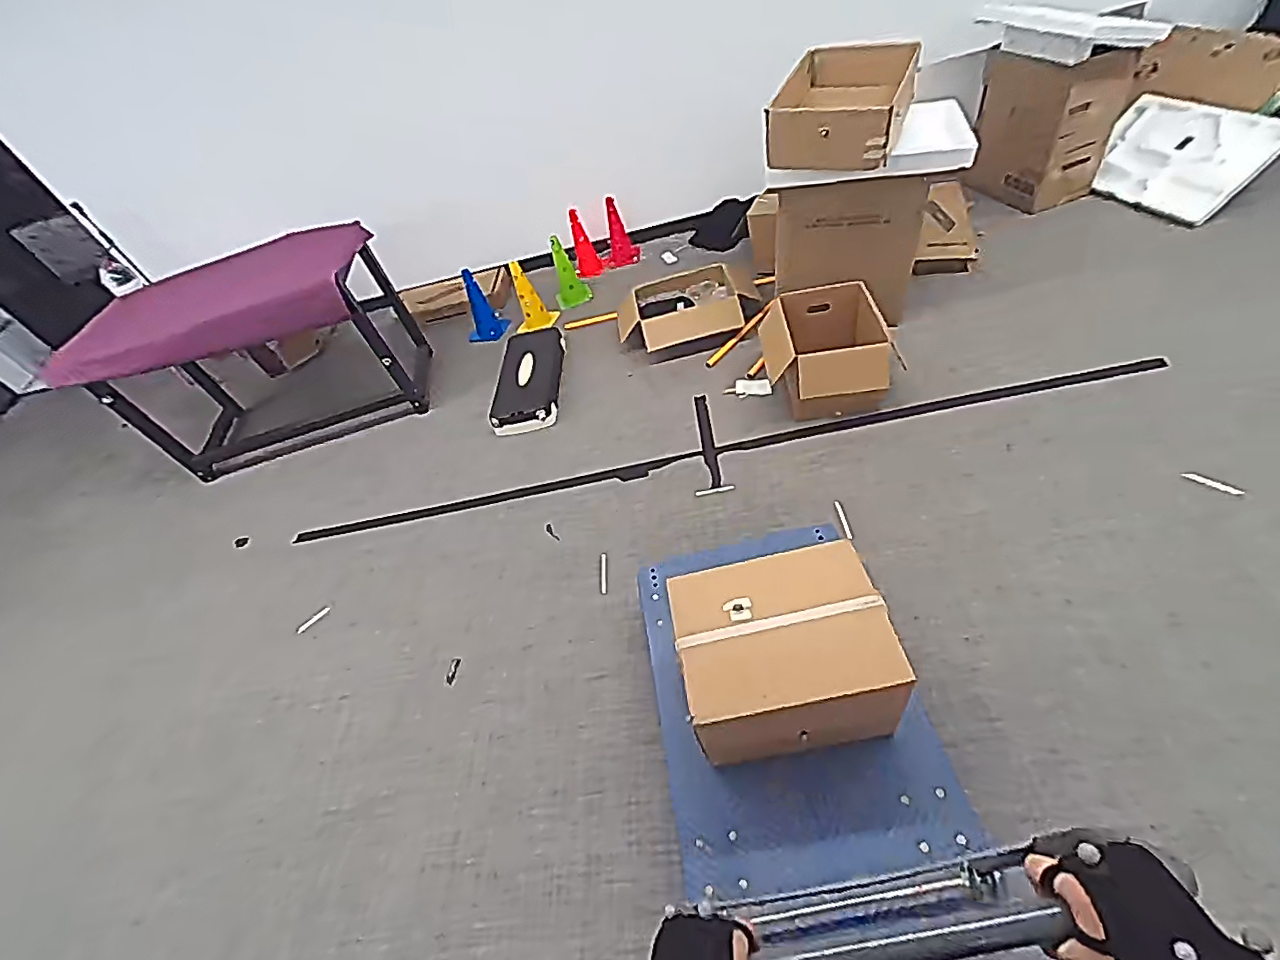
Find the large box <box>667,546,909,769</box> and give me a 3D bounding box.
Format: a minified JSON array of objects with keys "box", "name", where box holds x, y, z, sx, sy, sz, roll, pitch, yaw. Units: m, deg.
[{"box":[0.303,0.394,1.181,0.408,0.320,0.320,-15,47,5],"name":"large box"}]
